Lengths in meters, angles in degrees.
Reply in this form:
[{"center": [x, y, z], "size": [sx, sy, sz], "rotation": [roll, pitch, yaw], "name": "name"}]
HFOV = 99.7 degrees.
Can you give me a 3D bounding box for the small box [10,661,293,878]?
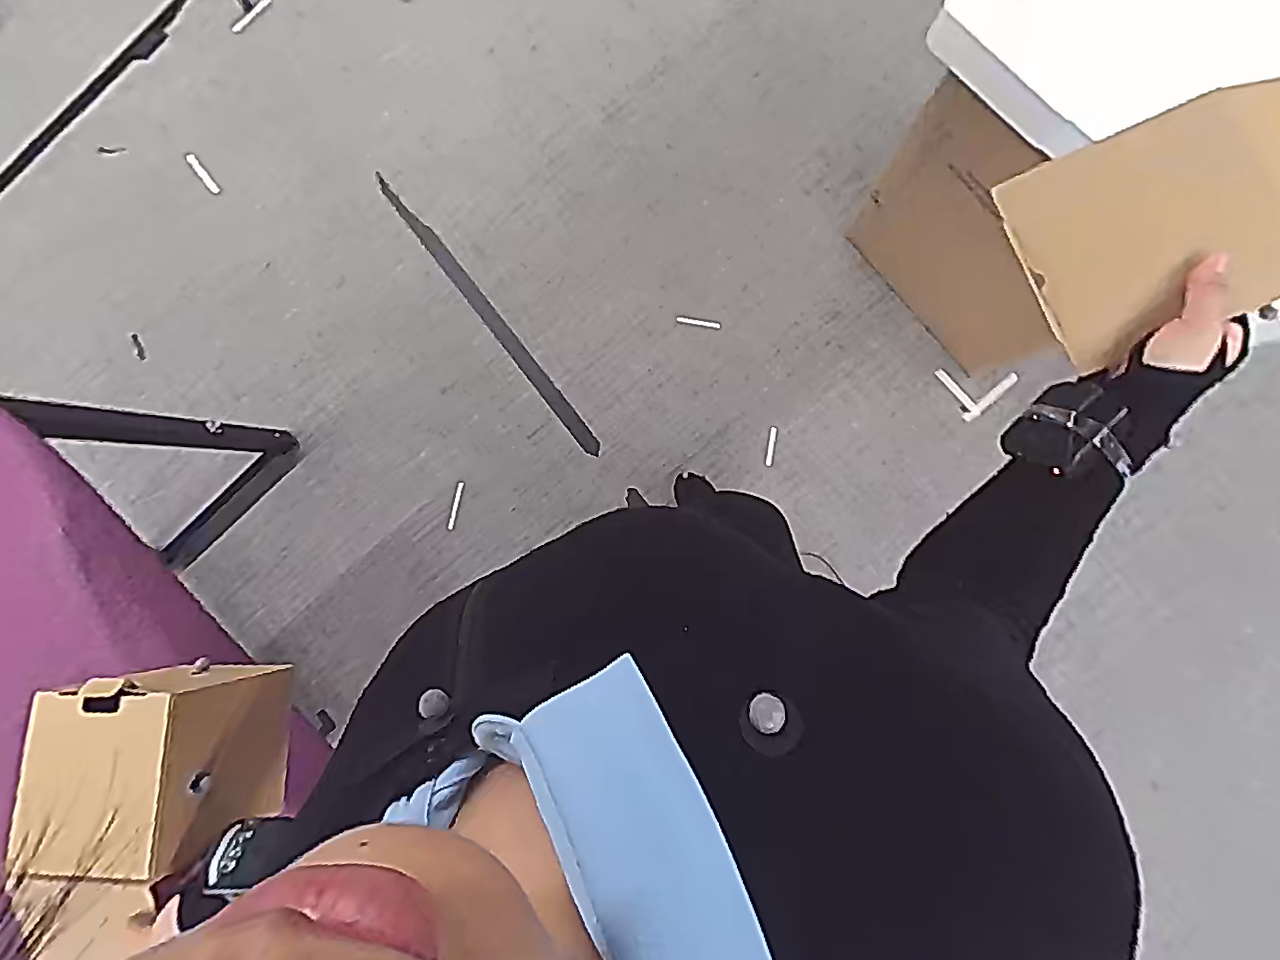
[{"center": [-0.535, 0.311, 0.619], "size": [0.168, 0.176, 0.179], "rotation": [-2, 79, 7], "name": "small box"}]
